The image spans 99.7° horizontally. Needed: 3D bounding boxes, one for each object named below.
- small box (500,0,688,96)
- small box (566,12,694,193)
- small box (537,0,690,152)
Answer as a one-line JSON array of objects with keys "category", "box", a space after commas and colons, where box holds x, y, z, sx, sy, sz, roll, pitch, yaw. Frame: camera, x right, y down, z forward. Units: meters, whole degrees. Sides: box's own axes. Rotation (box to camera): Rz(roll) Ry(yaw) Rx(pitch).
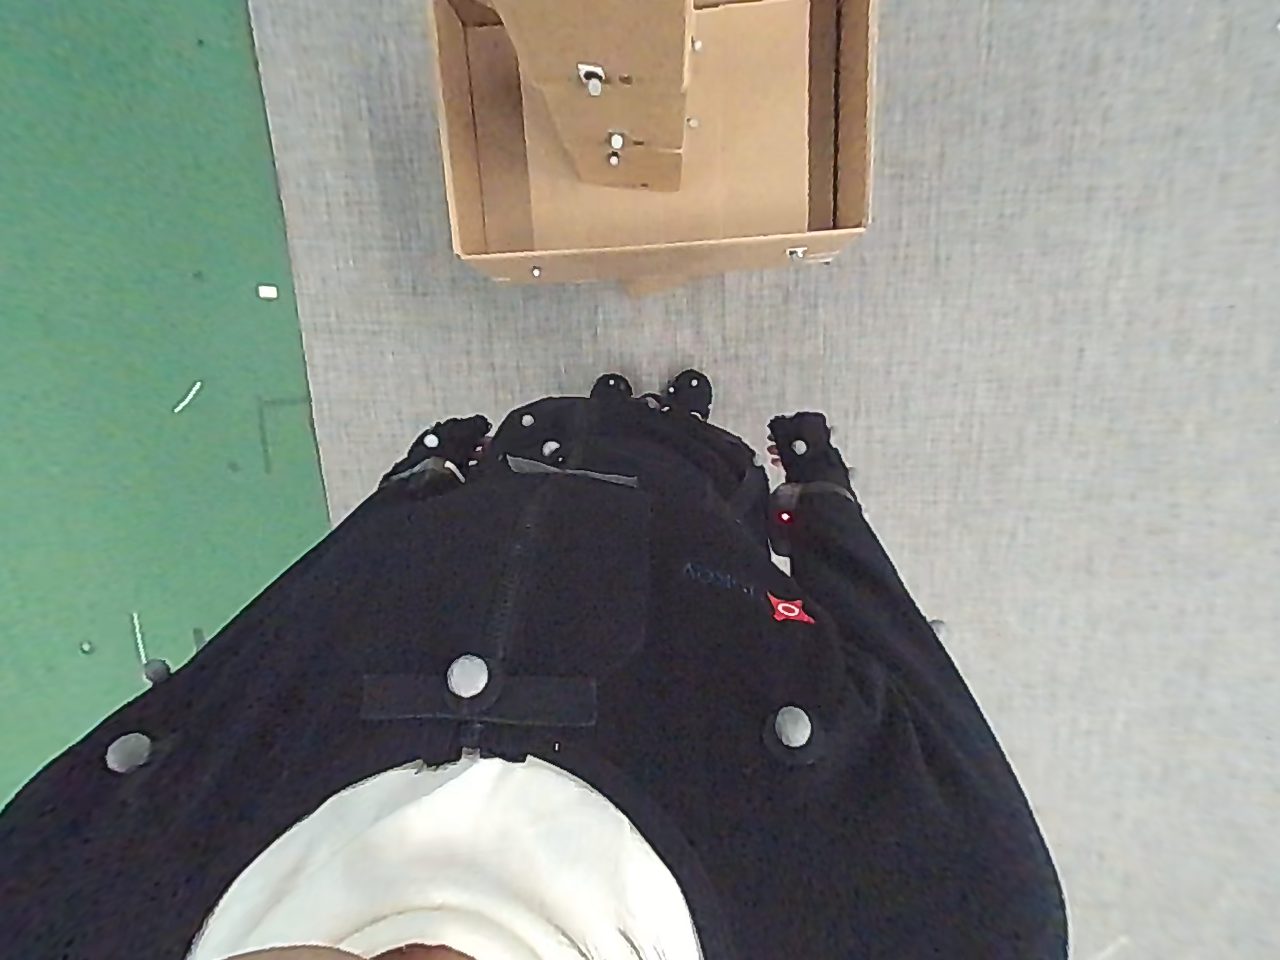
[{"category": "small box", "box": [-0.037, -0.494, 0.498, 0.168, 0.176, 0.179, 2, 102, 3]}, {"category": "small box", "box": [-0.013, -0.561, 0.815, 0.168, 0.176, 0.179, 5, 101, 3]}, {"category": "small box", "box": [-0.026, -0.529, 0.655, 0.168, 0.176, 0.179, 3, 102, 2]}]
